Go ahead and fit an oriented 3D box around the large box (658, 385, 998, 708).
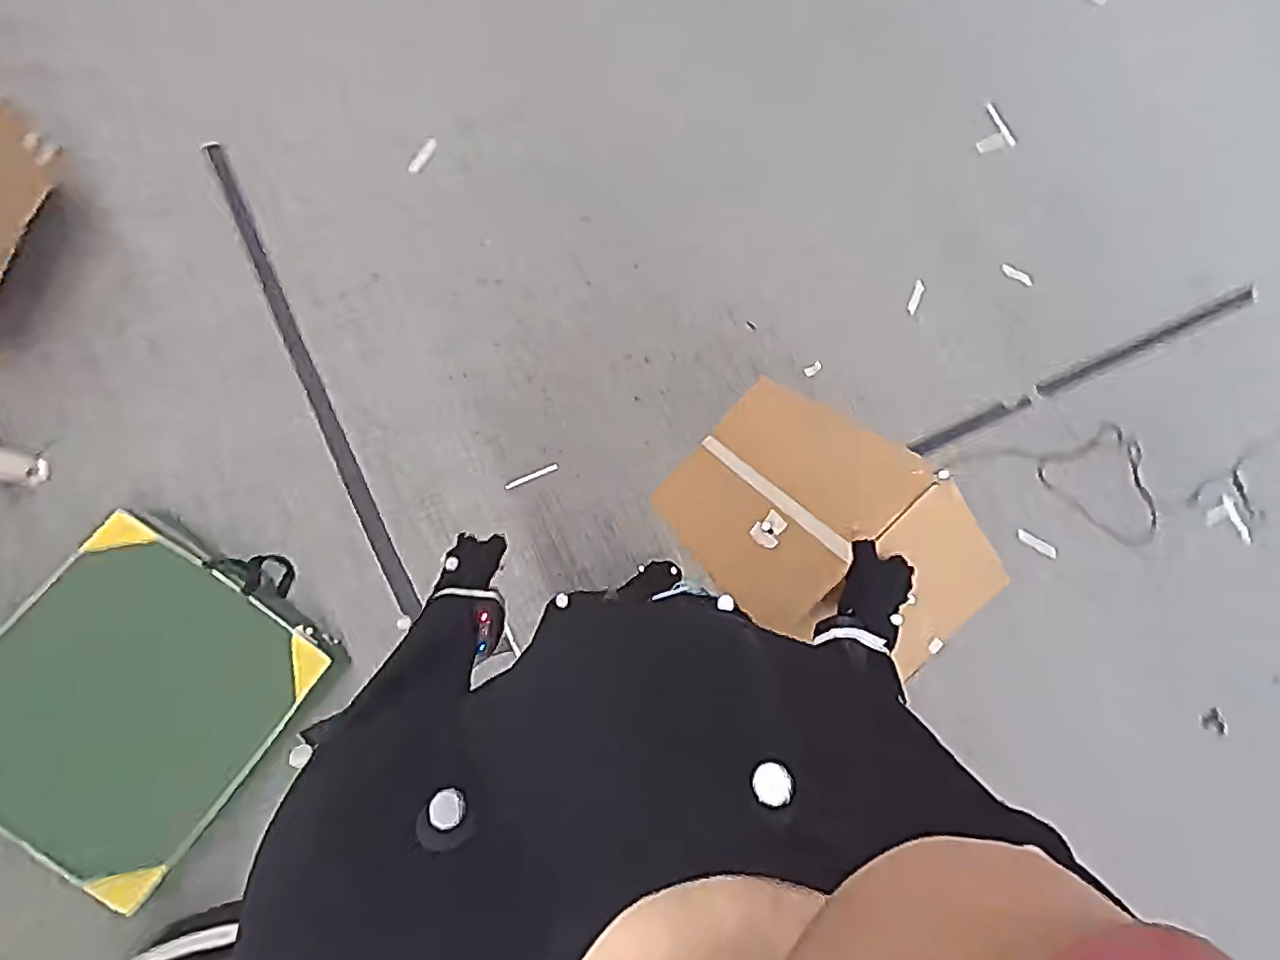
[{"bbox_3d":[0.301,0.098,0.936,0.320,0.408,0.320,-45,125,6],"label":"large box"}]
